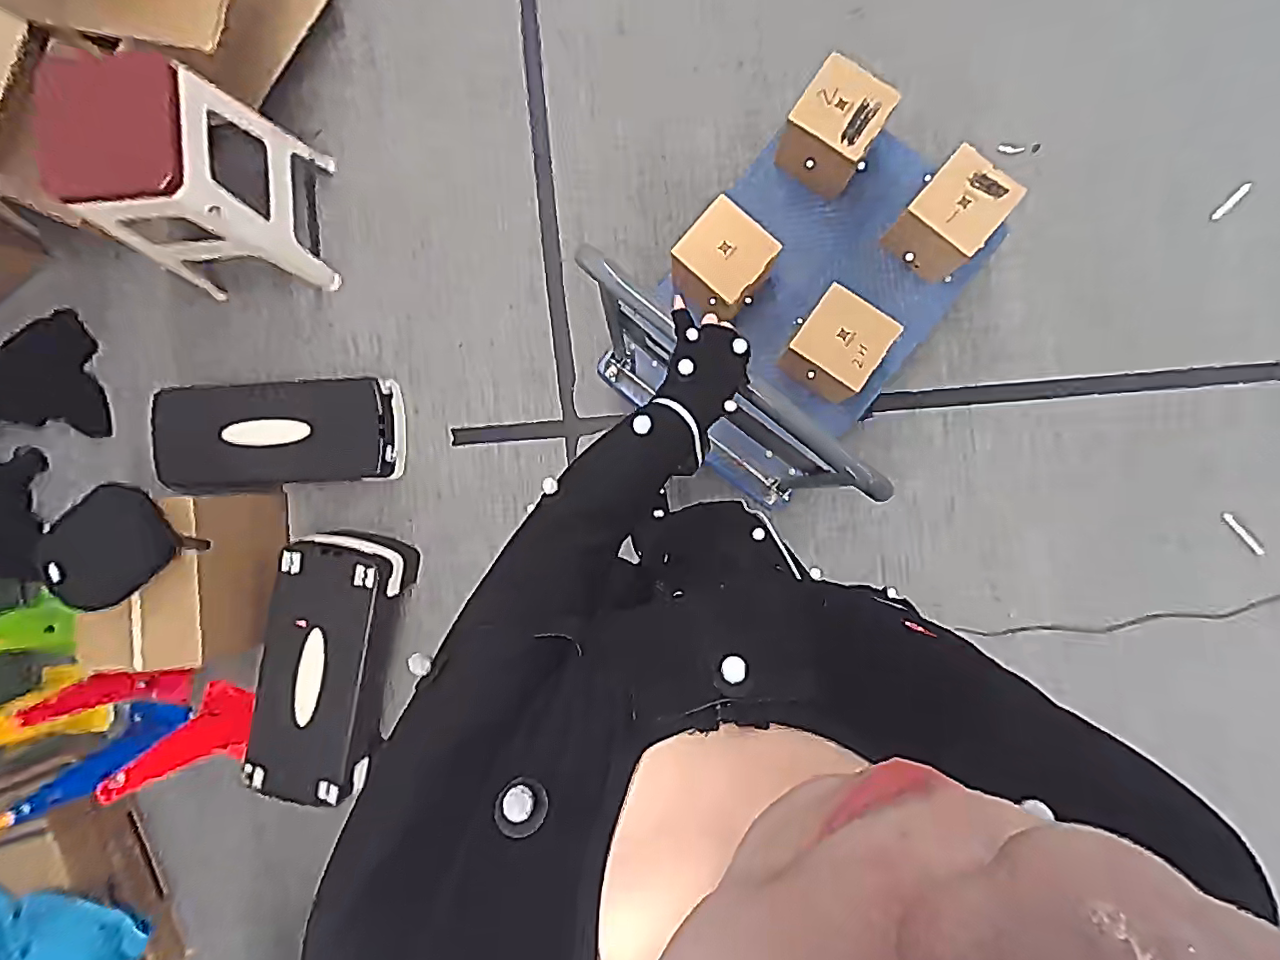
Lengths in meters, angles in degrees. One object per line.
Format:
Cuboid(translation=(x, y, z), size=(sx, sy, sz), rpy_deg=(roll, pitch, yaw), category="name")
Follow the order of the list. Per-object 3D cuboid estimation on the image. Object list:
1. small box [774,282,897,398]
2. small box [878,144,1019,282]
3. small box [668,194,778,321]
Cuboid(translation=(0.421, -0.299, 1.203), size=(0.179, 0.176, 0.168), rpy_deg=(35, 92, 3), category="small box")
Cuboid(translation=(0.662, -0.574, 1.187), size=(0.168, 0.176, 0.179), rpy_deg=(40, 94, 3), category="small box")
Cuboid(translation=(0.176, -0.488, 1.217), size=(0.179, 0.176, 0.168), rpy_deg=(42, 92, 0), category="small box")
